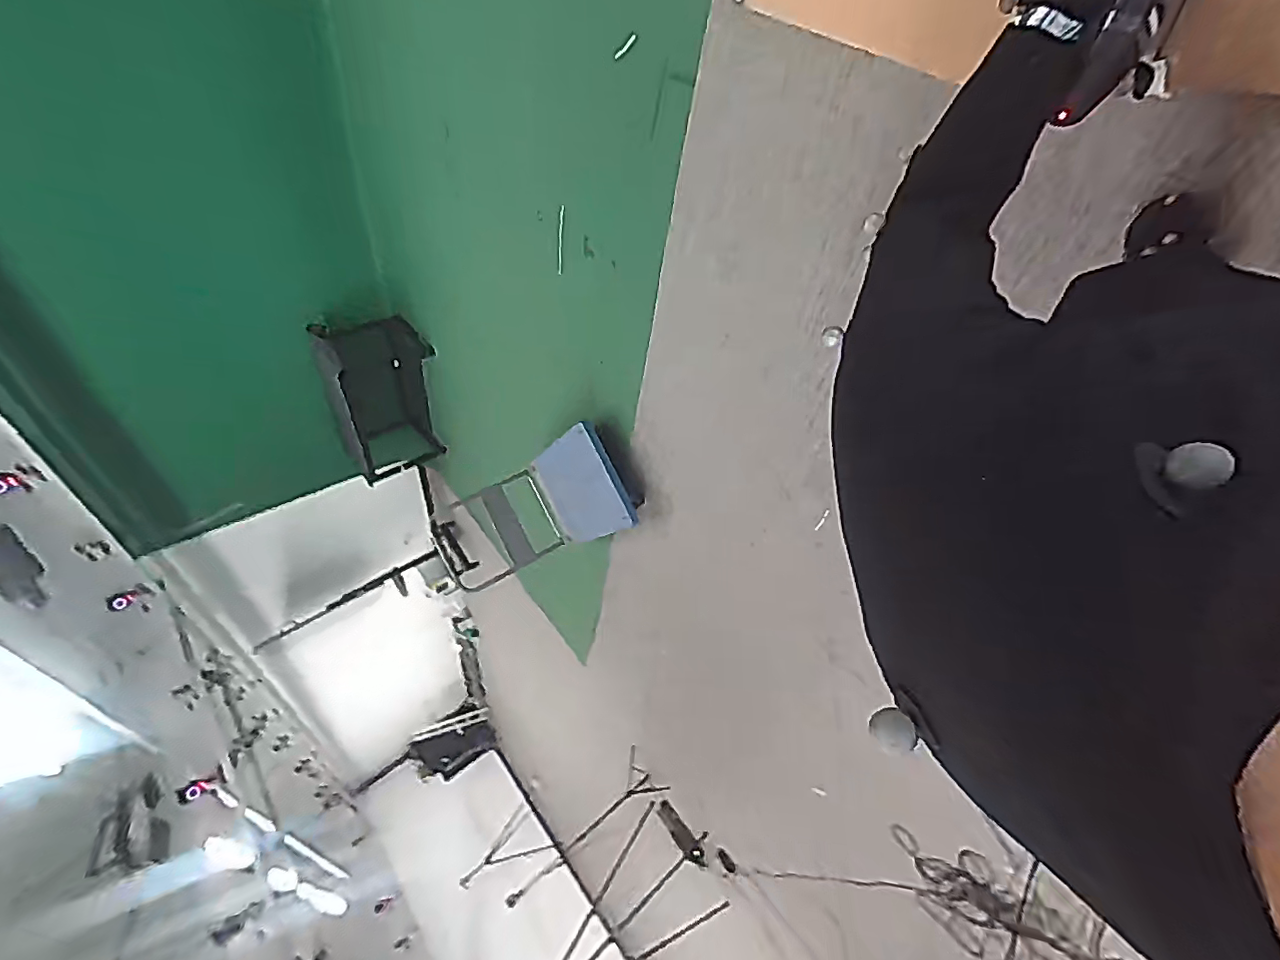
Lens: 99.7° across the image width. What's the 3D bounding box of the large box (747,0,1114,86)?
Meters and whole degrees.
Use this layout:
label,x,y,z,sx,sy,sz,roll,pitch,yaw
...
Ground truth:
label,x,y,z,sx,sy,sz,roll,pitch,yaw
large box,0.421,-0.766,0.705,0.408,0.320,0.320,47,148,26
